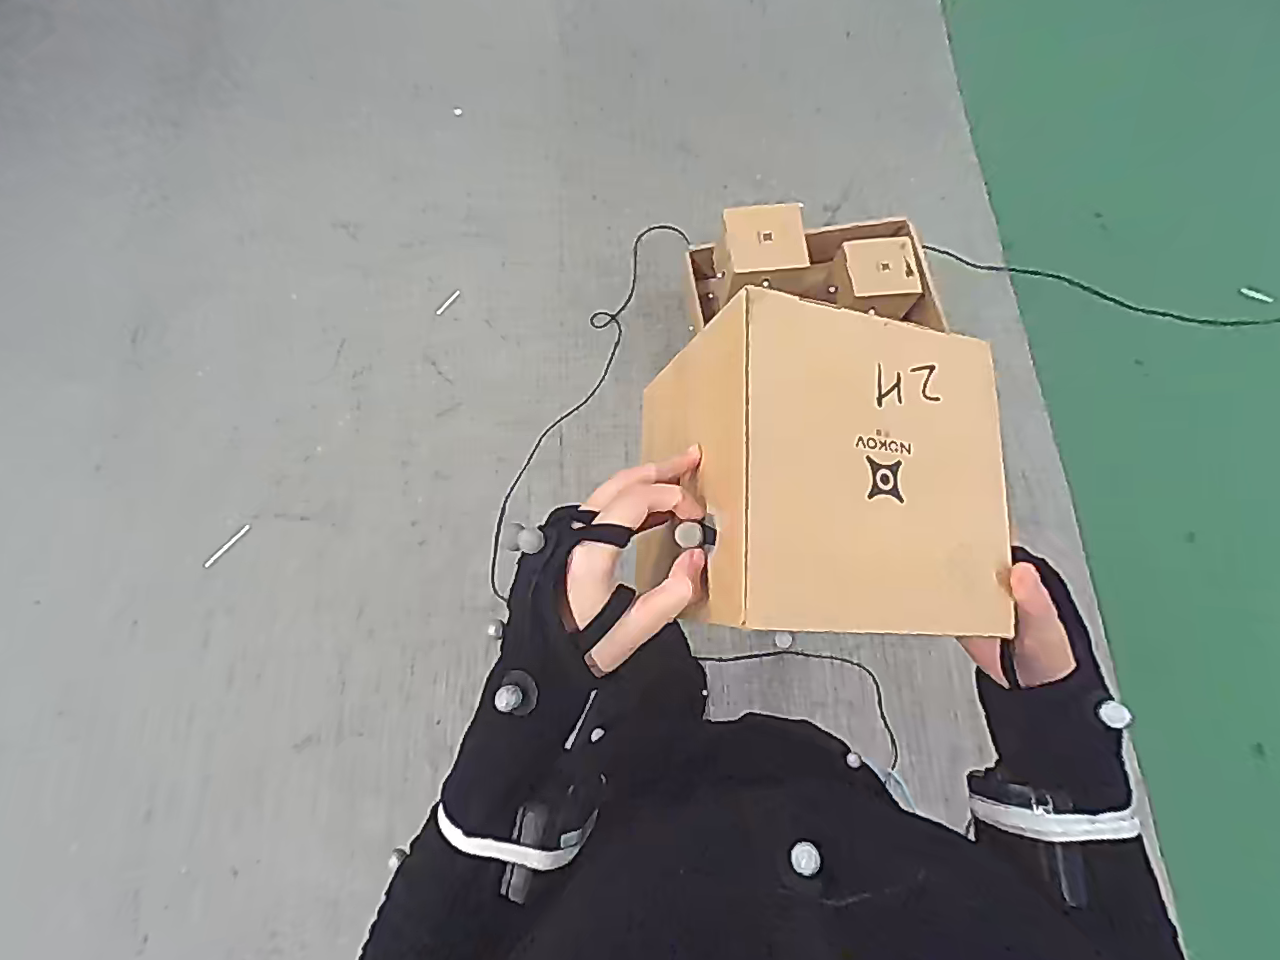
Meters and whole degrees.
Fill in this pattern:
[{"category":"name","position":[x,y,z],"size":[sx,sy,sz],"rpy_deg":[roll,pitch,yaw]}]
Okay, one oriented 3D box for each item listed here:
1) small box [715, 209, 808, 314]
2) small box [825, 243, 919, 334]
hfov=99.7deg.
[{"category":"small box","position":[0.277,-0.511,1.284],"size":[0.179,0.176,0.168],"rpy_deg":[-4,76,-2]},{"category":"small box","position":[0.610,-0.507,1.450],"size":[0.179,0.176,0.168],"rpy_deg":[-4,75,0]}]
